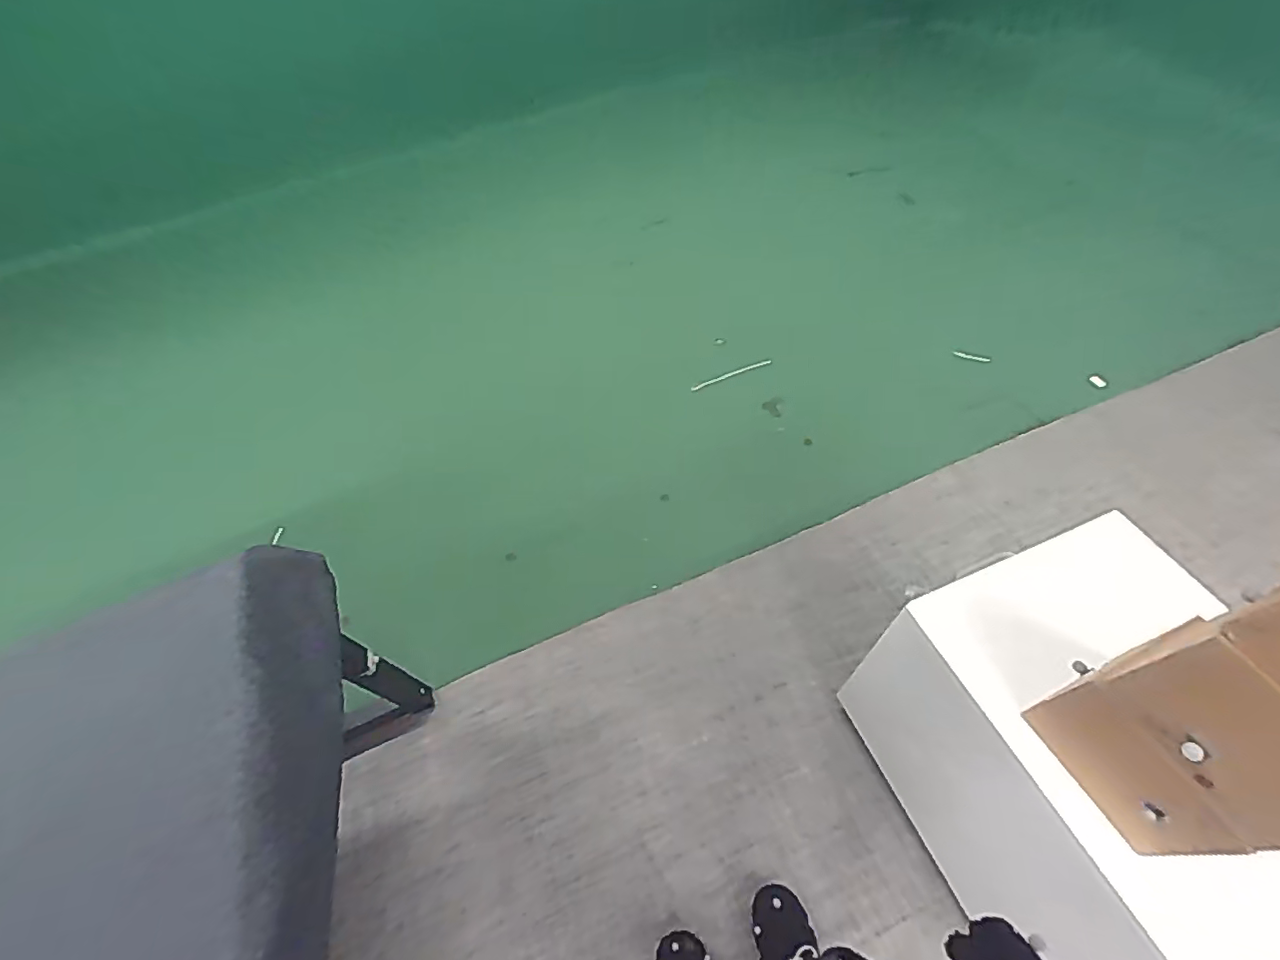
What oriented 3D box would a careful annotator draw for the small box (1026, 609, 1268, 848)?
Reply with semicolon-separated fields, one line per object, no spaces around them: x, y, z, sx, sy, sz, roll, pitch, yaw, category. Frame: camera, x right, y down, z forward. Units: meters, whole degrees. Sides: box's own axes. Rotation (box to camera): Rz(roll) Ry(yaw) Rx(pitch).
0.600;0.283;0.612;0.168;0.176;0.179;-24;55;-10;small box

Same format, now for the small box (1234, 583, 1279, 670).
0.572;0.097;0.343;0.168;0.176;0.179;-25;56;-10;small box

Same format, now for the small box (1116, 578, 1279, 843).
0.592;0.190;0.476;0.179;0.176;0.168;-25;57;-12;small box
